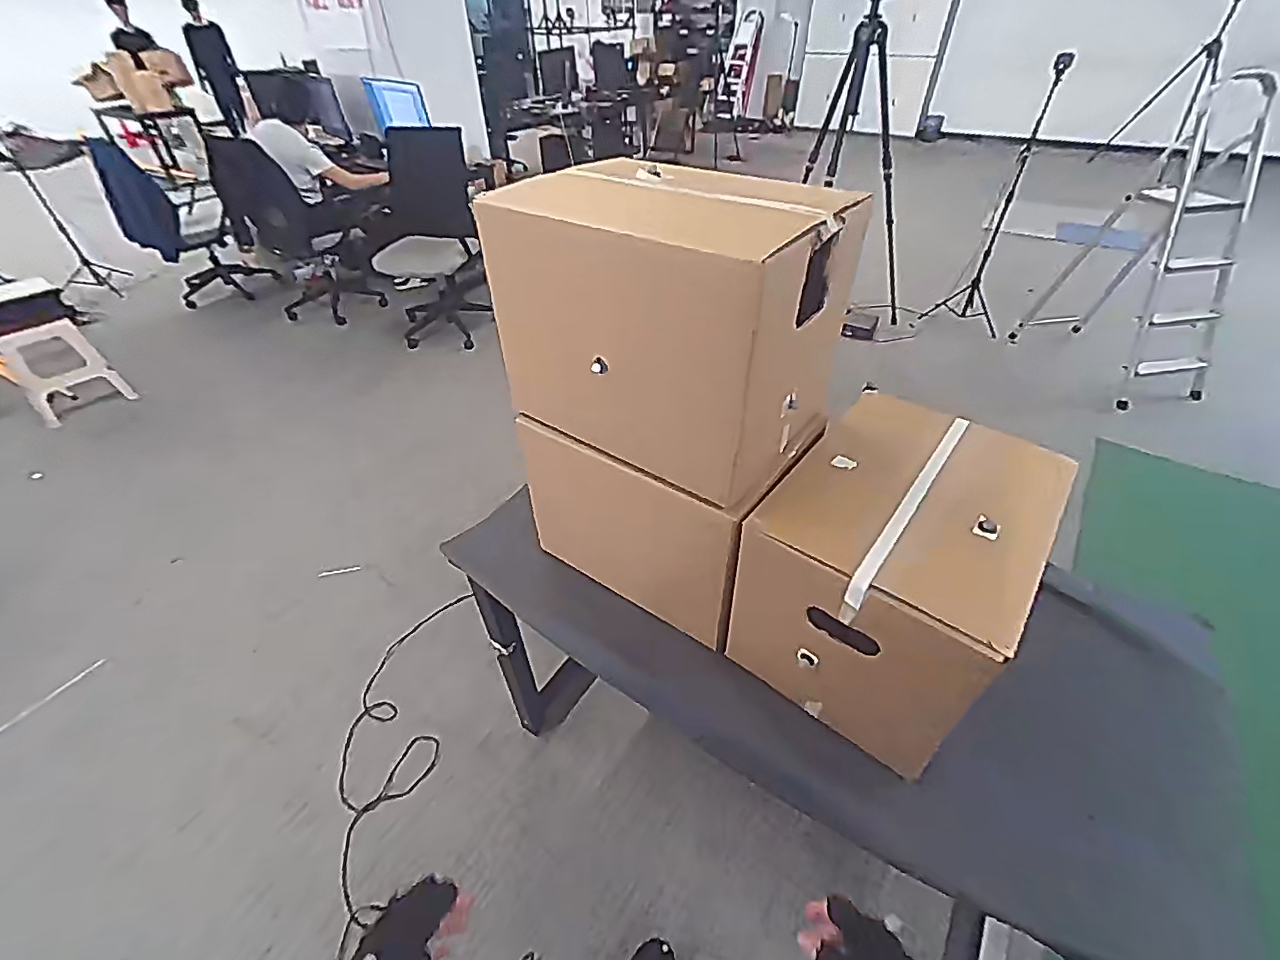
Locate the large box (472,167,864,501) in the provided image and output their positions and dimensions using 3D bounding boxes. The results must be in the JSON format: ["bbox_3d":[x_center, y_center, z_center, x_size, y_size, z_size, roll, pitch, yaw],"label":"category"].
[{"bbox_3d":[0.042,-0.229,0.772,0.408,0.320,0.320,25,46,28],"label":"large box"}]
